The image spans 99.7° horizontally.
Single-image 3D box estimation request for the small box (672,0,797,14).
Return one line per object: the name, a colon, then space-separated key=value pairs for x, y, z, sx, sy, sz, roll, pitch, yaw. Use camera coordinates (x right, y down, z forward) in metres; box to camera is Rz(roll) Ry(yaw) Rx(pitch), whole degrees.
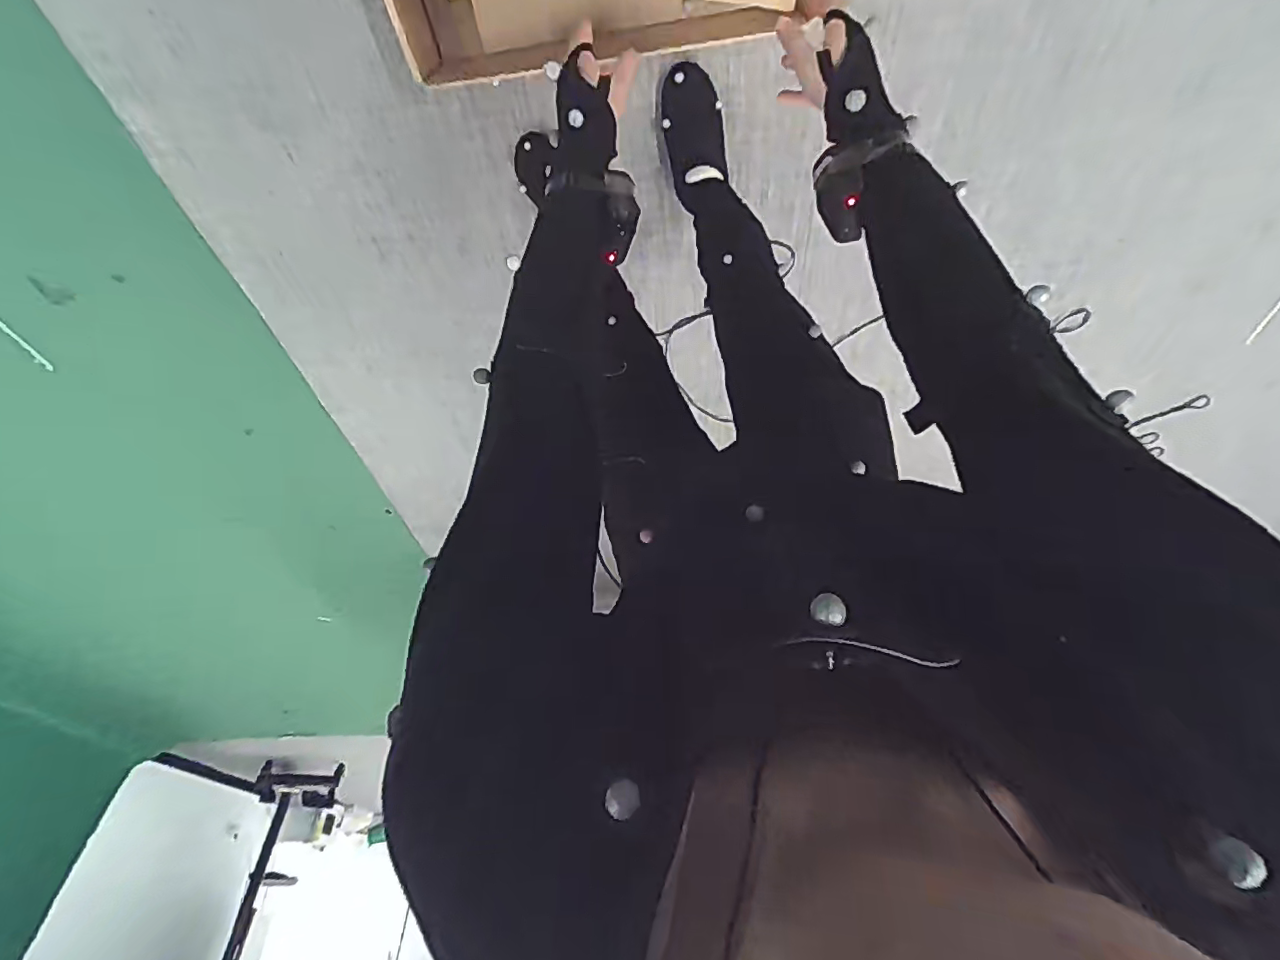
small box: x=0.067 y=-0.559 z=0.494 sx=0.179 sy=0.176 sz=0.168 roll=4 pitch=140 yaw=-3
